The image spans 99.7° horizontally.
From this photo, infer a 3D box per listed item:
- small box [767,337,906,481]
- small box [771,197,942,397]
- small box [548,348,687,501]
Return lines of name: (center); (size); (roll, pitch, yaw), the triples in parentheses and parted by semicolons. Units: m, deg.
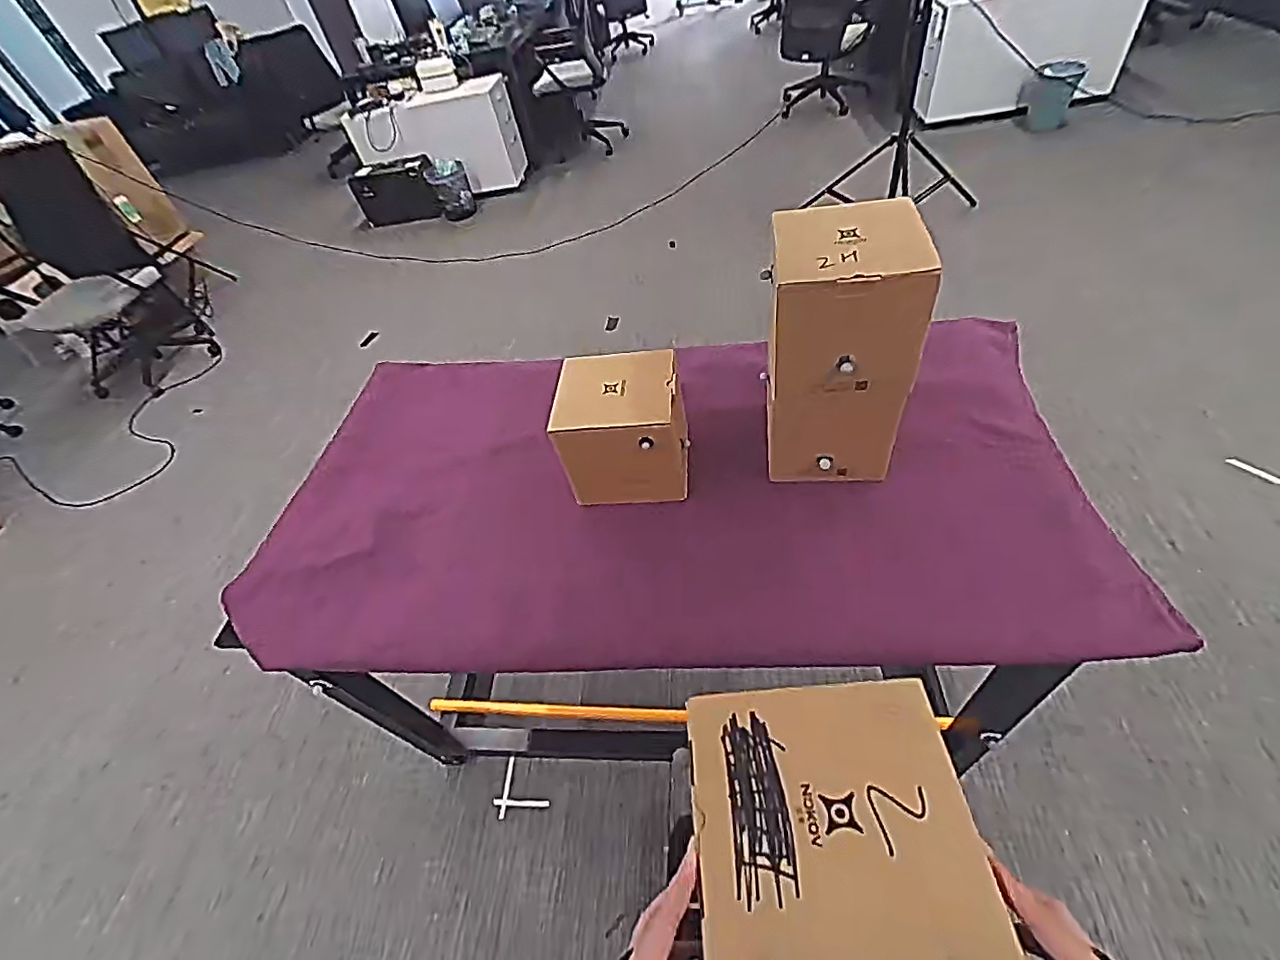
small box: (0.275, -0.118, 0.800); (0.168, 0.176, 0.179); (-1, 50, 12)
small box: (0.251, -0.224, 0.676); (0.168, 0.176, 0.179); (-1, 50, 12)
small box: (-0.023, -0.080, 0.834); (0.179, 0.176, 0.168); (-3, 49, 9)
